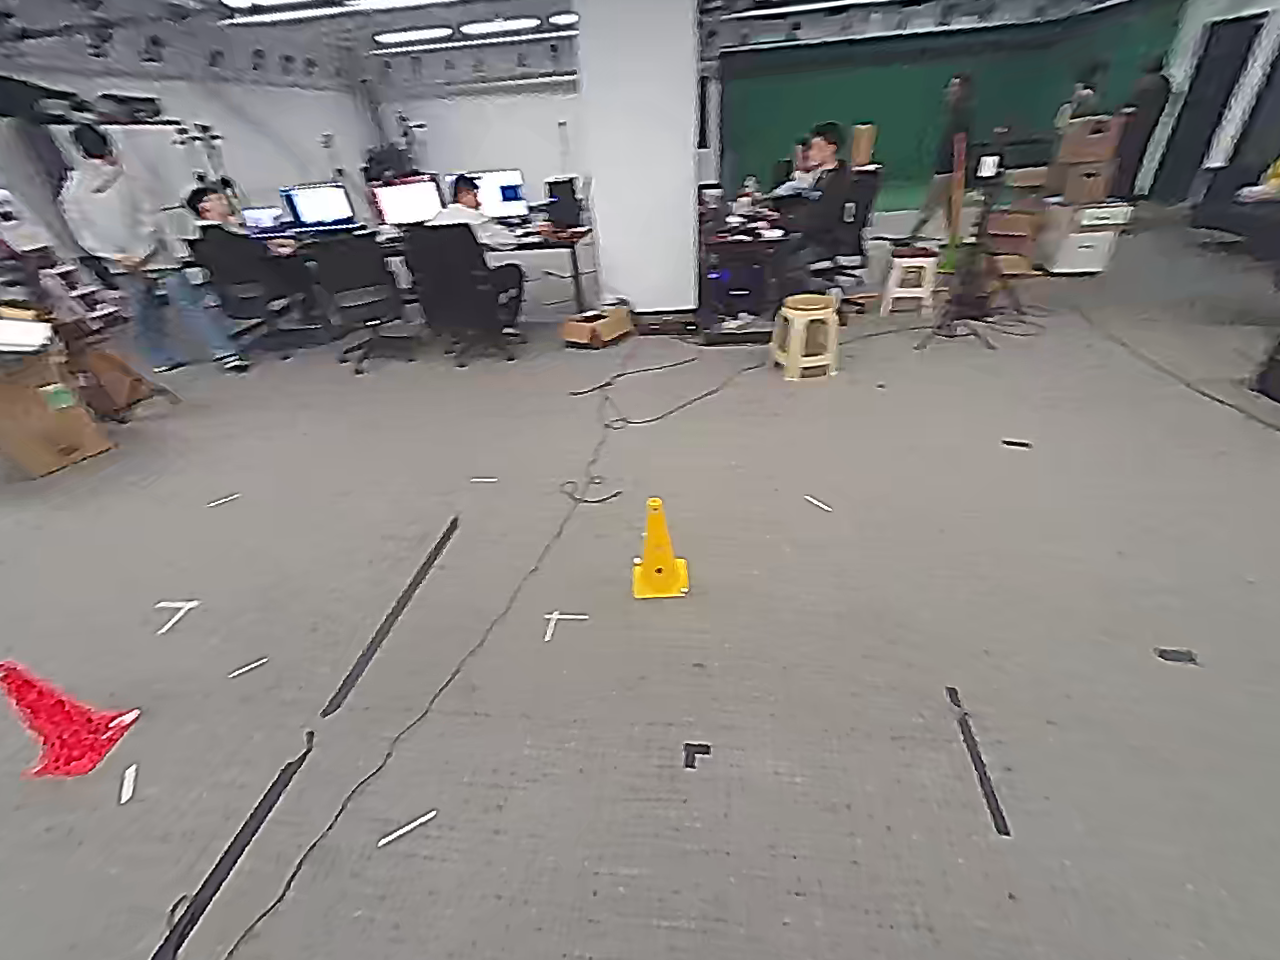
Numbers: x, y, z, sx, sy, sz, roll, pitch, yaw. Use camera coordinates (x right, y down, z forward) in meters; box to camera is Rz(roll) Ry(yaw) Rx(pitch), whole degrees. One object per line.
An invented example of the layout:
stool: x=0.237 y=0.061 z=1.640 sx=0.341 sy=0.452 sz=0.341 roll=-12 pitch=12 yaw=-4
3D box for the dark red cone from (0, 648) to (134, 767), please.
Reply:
dark red cone: x=-1.677 y=0.623 z=1.524 sx=0.201 sy=0.394 sz=0.202 roll=-3 pitch=33 yaw=2
